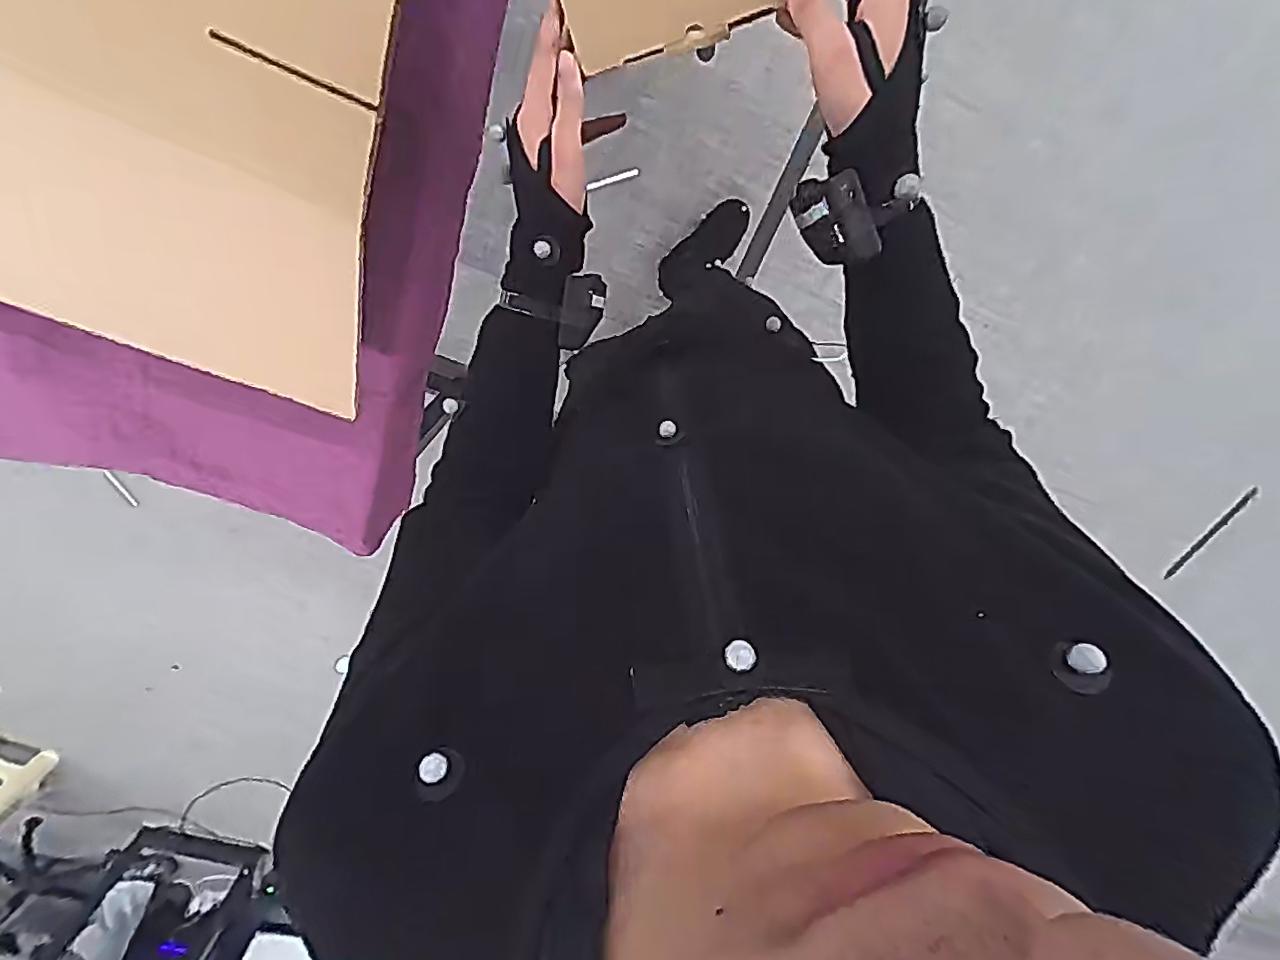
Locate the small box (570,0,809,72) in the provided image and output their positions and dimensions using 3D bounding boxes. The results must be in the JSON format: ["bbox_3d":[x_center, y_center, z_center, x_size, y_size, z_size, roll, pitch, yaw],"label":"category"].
[{"bbox_3d":[0.030,-0.419,0.371,0.168,0.176,0.179,-7,130,17],"label":"small box"}]
